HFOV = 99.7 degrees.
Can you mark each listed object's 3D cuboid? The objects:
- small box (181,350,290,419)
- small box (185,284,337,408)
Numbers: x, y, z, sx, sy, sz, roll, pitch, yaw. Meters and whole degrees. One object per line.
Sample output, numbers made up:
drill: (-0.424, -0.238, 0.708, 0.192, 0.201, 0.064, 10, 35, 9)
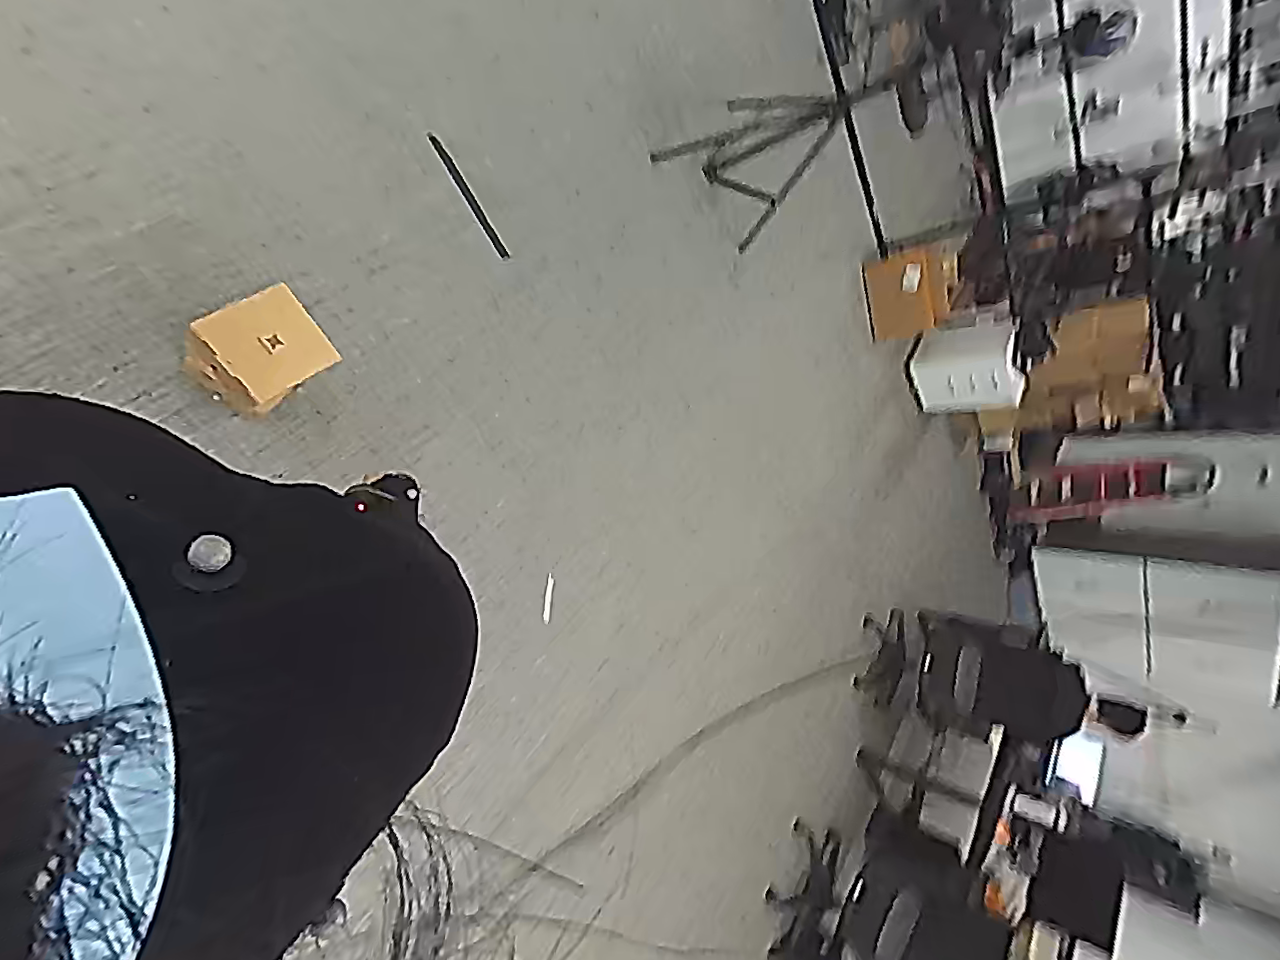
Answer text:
small box: (-0.853, -0.252, 1.173, 0.168, 0.176, 0.179, 49, 60, -32)
small box: (-0.741, -0.256, 1.055, 0.179, 0.176, 0.168, -46, 121, -31)
